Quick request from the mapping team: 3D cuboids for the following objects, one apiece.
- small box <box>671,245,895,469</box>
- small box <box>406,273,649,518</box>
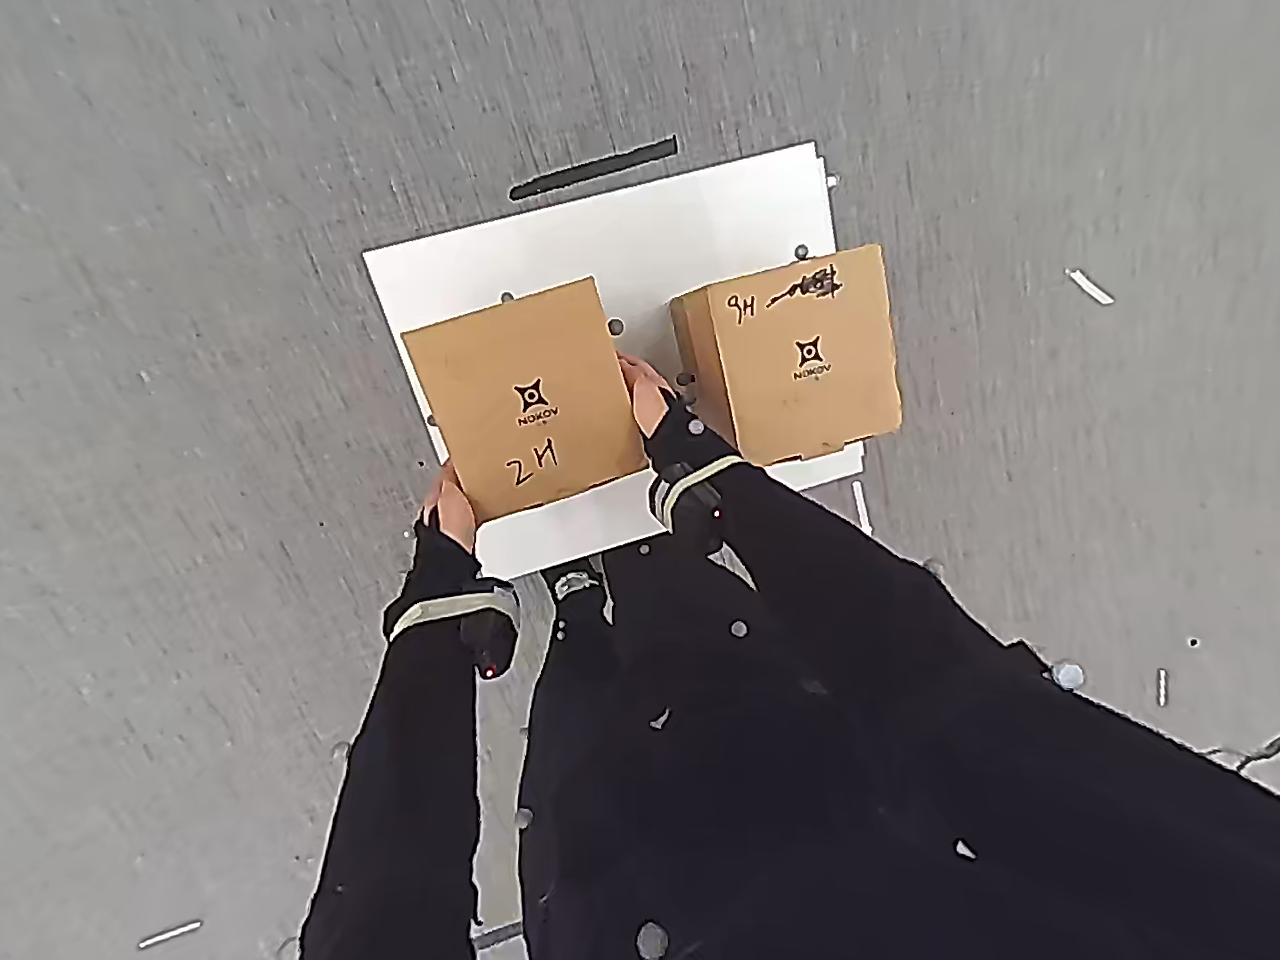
[{"bbox_3d":[0.140,-0.131,0.571,0.168,0.176,0.179,-15,107,-5],"label":"small box"},{"bbox_3d":[-0.105,-0.087,0.541,0.168,0.176,0.179,-18,107,-4],"label":"small box"}]
